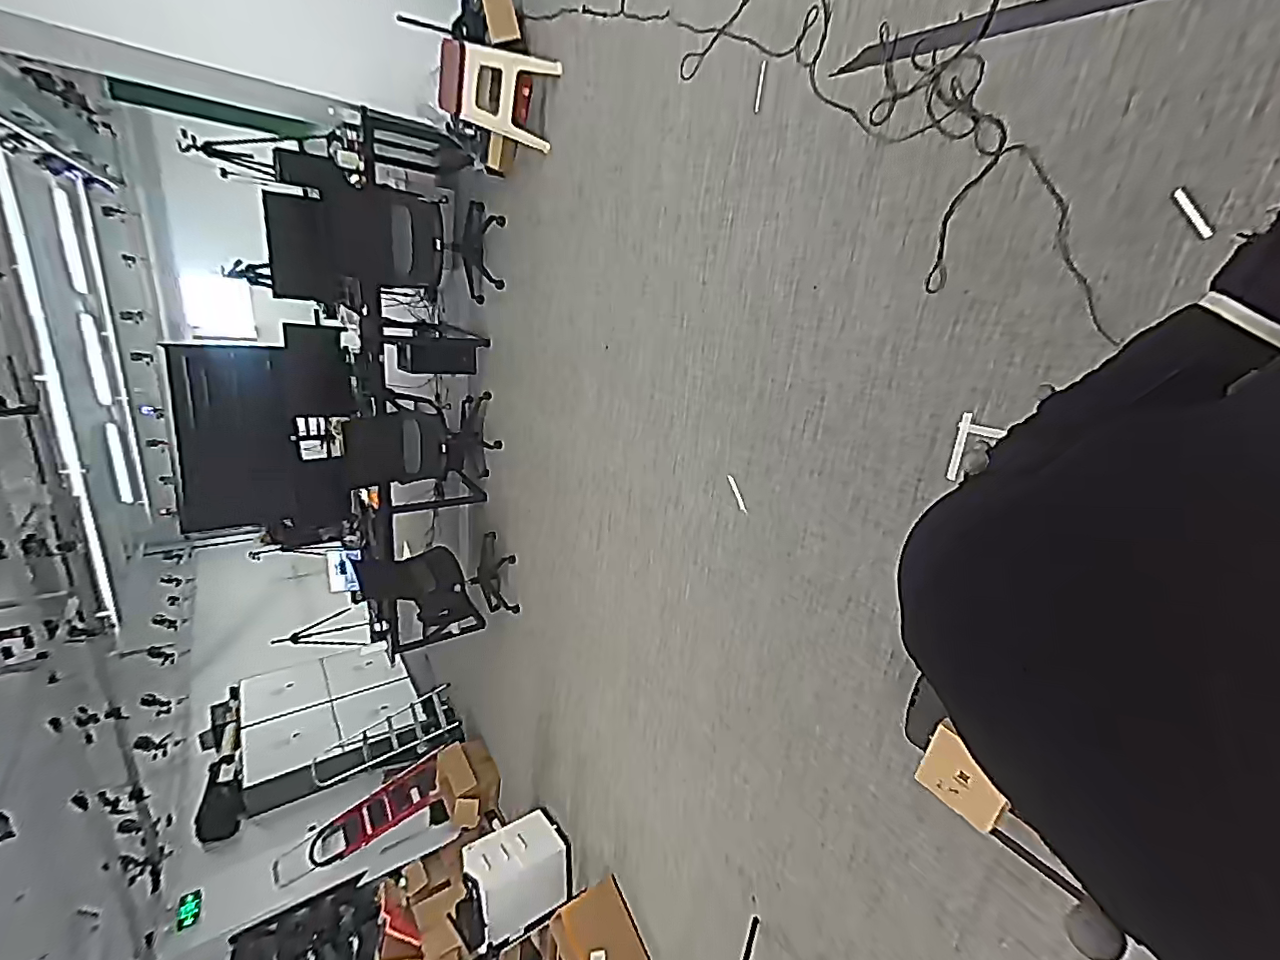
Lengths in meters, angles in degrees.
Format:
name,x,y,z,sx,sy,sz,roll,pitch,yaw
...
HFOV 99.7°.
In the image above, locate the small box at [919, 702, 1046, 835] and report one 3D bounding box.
name,x,y,z,sx,sy,sz,roll,pitch,yaw
small box,0.776,0.640,1.223,0.168,0.176,0.179,35,124,46
